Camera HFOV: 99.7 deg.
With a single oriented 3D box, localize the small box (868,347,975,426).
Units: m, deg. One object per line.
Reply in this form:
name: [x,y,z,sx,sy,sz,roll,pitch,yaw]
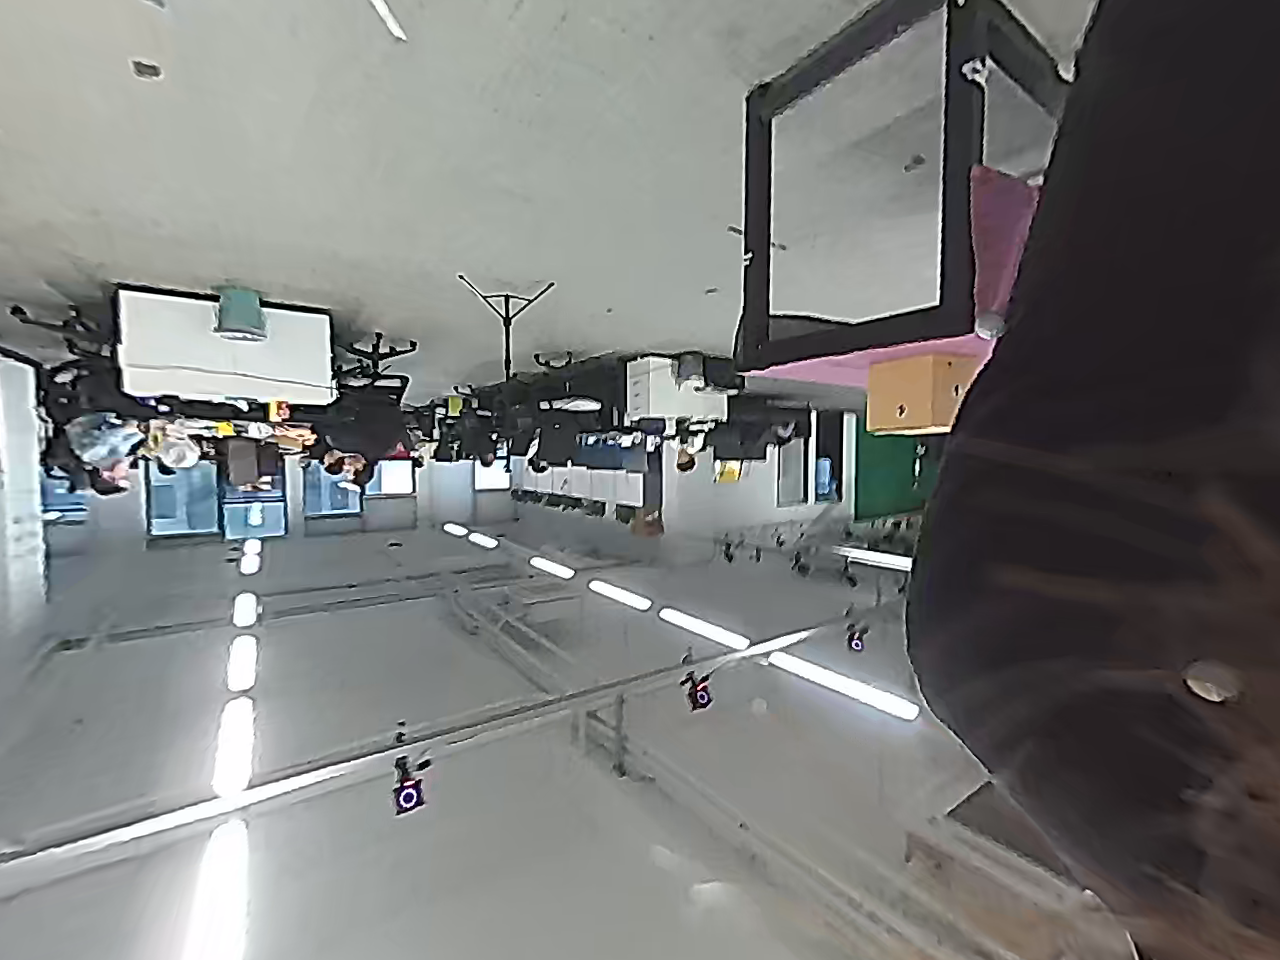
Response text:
small box: [0.672,-0.220,1.300,0.168,0.176,0.179,-3,-176,-28]
